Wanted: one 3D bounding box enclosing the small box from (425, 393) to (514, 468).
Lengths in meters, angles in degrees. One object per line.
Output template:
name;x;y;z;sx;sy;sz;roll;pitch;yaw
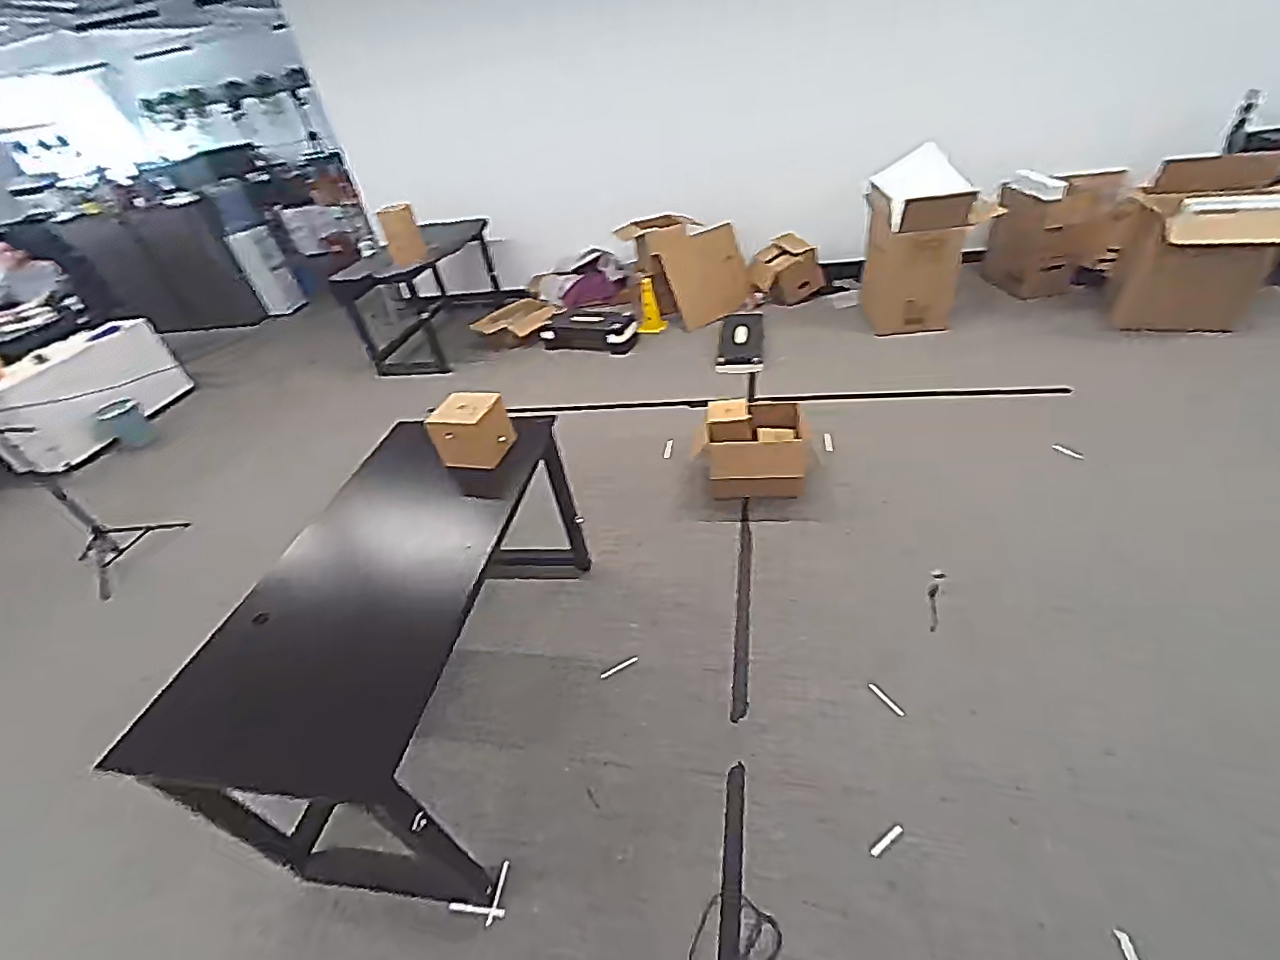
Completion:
small box;-0.515;-0.152;1.659;0.179;0.176;0.168;4;42;18
